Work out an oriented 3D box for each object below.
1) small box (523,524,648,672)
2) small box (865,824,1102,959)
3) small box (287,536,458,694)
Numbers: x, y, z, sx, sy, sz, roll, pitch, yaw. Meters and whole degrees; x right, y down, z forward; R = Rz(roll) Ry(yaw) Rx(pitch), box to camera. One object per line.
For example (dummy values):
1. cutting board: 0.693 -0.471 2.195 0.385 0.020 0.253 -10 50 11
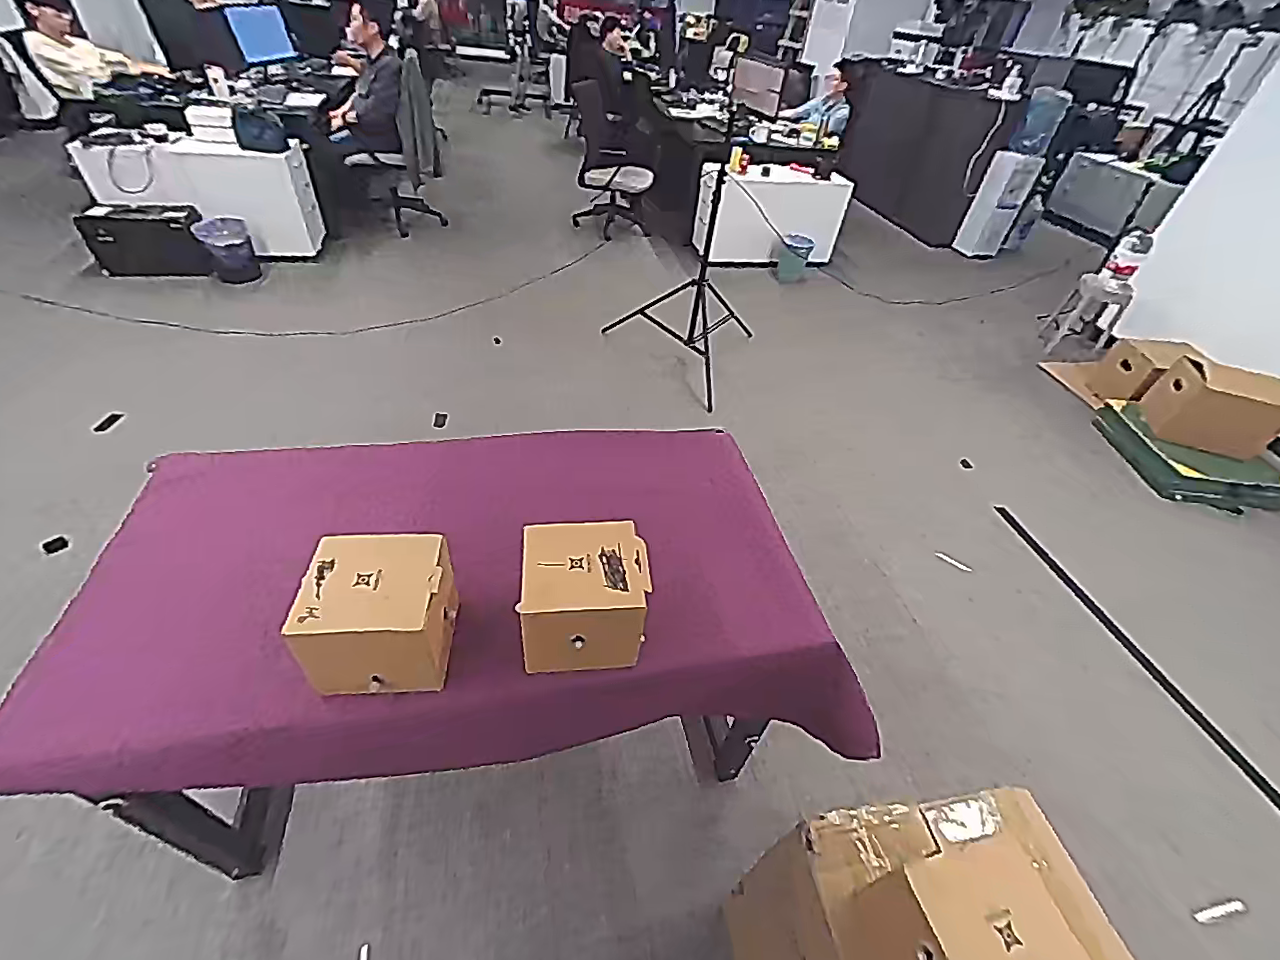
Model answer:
1. small box: -0.090 0.187 0.859 0.179 0.176 0.168 -1 42 -8
2. small box: 0.414 0.567 0.669 0.168 0.176 0.179 -9 46 -13
3. small box: -0.376 0.201 0.804 0.179 0.176 0.168 1 42 -8
